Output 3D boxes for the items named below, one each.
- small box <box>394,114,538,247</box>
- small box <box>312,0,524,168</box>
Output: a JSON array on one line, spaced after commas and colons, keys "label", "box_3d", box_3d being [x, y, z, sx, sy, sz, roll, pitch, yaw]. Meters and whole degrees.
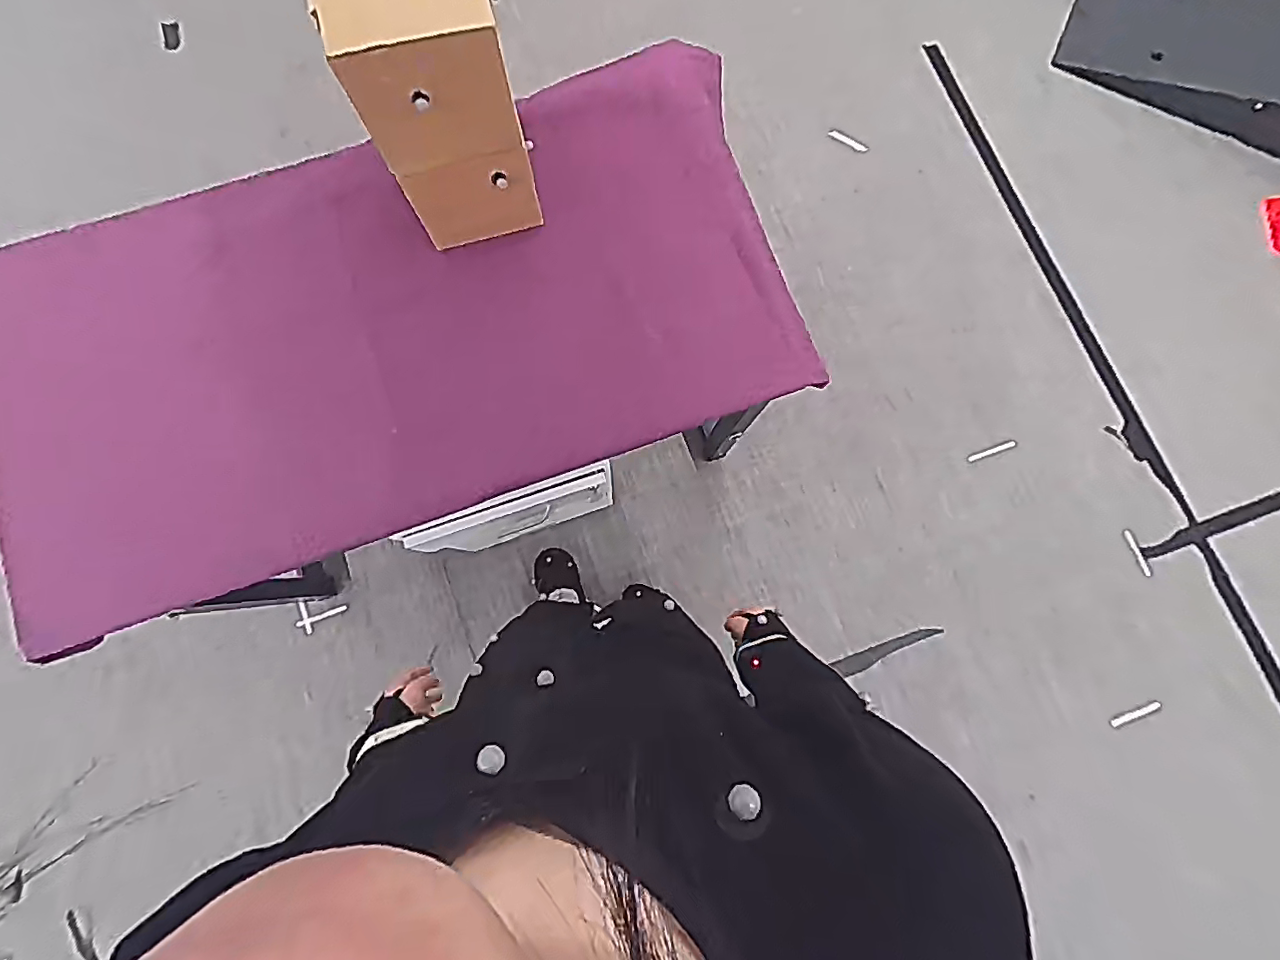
[{"label": "small box", "box_3d": [-0.256, -0.476, 0.793, 0.179, 0.176, 0.168, -16, 82, -4]}, {"label": "small box", "box_3d": [-0.252, -0.503, 0.632, 0.179, 0.176, 0.168, -15, 82, -3]}]
